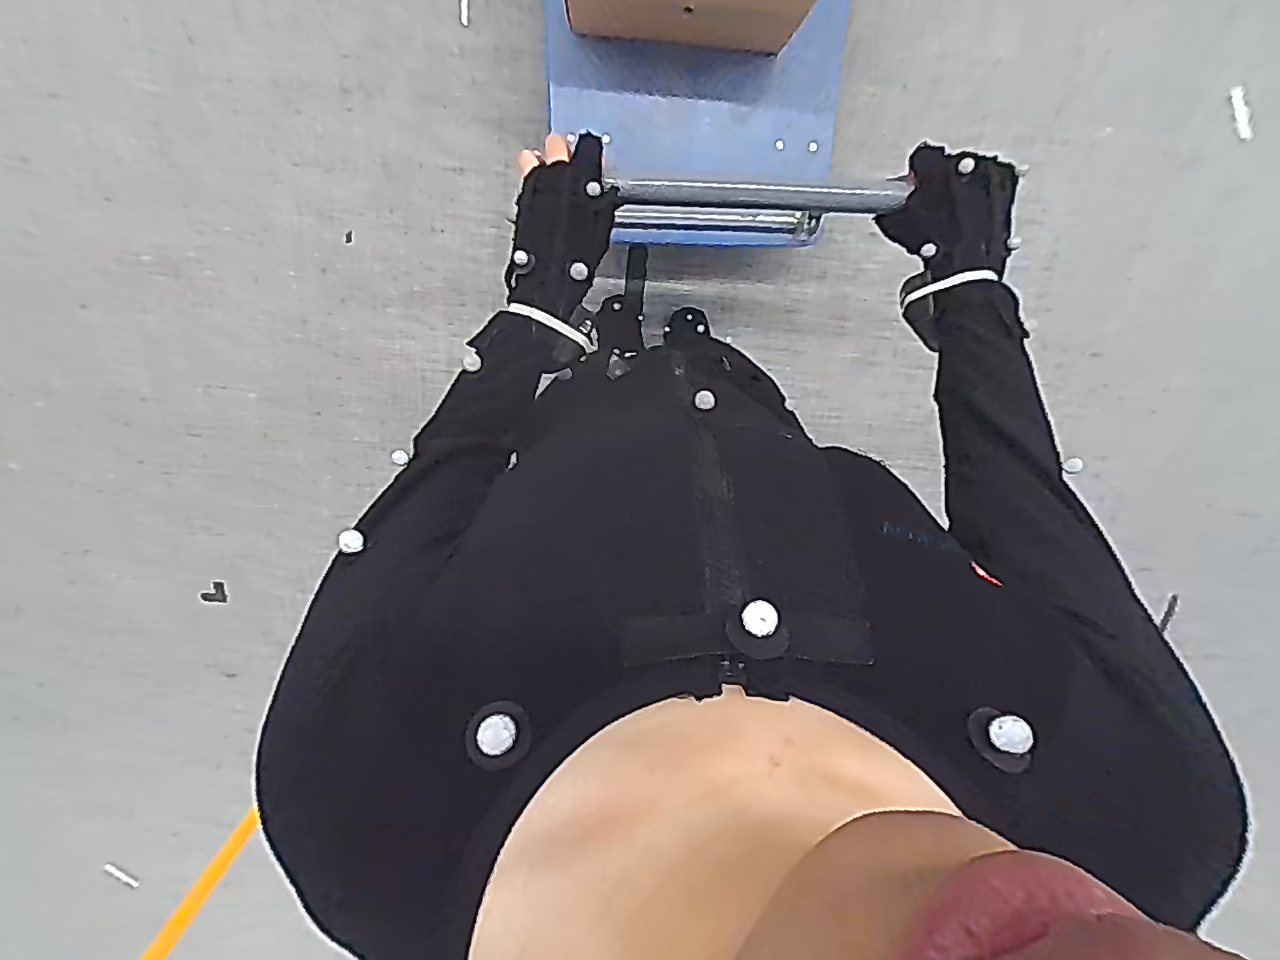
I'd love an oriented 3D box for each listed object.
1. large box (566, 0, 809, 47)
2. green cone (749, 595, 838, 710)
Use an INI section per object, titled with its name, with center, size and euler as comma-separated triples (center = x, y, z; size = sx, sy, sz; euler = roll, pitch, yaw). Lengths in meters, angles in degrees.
[large box]
center = 0.082, -0.934, 0.853
size = 0.408, 0.320, 0.320
euler = 2, 109, -3
[green cone]
center = 0.467, 0.511, 1.539
size = 0.202, 0.368, 0.200
euler = 7, 109, -7
